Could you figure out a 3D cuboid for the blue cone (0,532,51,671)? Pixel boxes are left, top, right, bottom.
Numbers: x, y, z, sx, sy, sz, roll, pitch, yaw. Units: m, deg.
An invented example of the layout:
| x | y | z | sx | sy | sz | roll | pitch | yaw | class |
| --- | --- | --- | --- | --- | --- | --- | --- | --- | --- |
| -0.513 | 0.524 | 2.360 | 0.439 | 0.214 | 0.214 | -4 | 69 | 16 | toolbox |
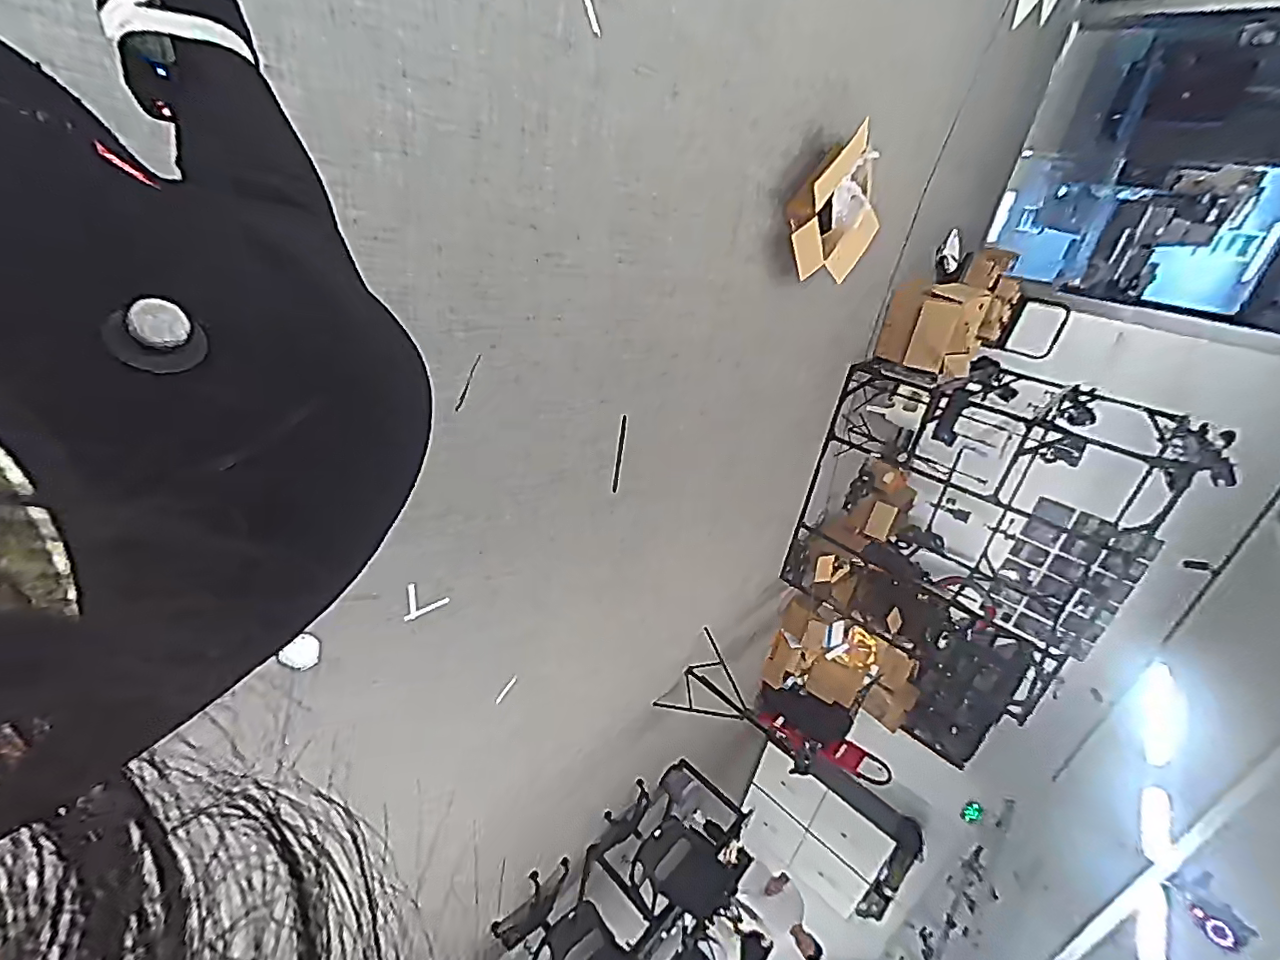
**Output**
| x | y | z | sx | sy | sz | roll | pitch | yaw | class |
| --- | --- | --- | --- | --- | --- | --- | --- | --- | --- |
| -1.187 | 0.272 | 0.964 | 0.193 | 0.380 | 0.192 | -20 | 129 | -44 | blue cone |
